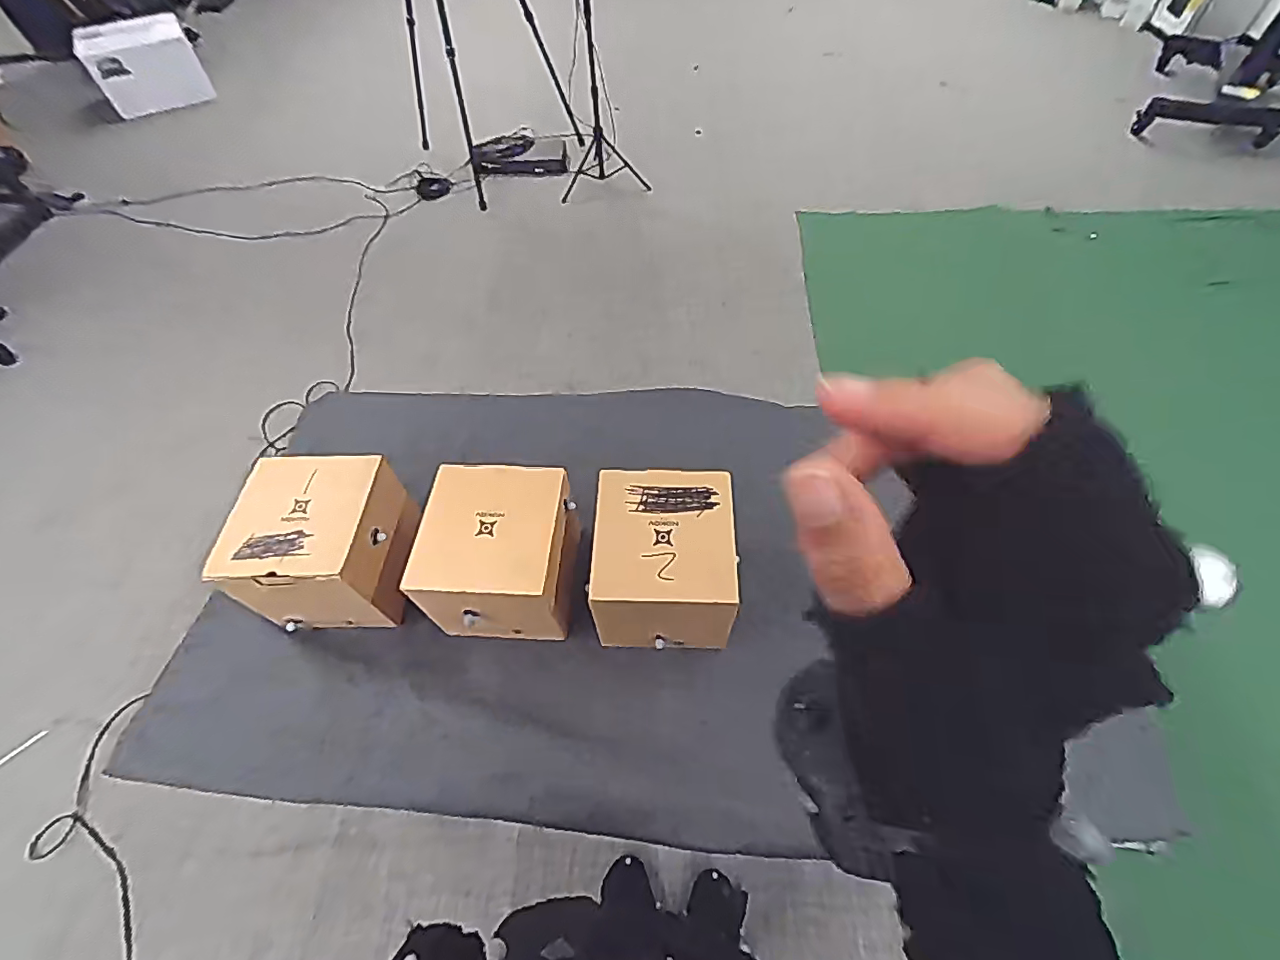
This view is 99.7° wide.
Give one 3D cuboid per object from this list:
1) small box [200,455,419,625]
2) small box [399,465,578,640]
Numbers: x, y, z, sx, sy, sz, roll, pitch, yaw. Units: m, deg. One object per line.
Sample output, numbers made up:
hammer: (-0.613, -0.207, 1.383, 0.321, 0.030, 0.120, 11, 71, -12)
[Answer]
small box: (-0.415, 0.086, 0.722, 0.168, 0.176, 0.179, -1, 55, 1)
small box: (-0.180, 0.099, 0.707, 0.168, 0.176, 0.179, 2, 55, 3)
